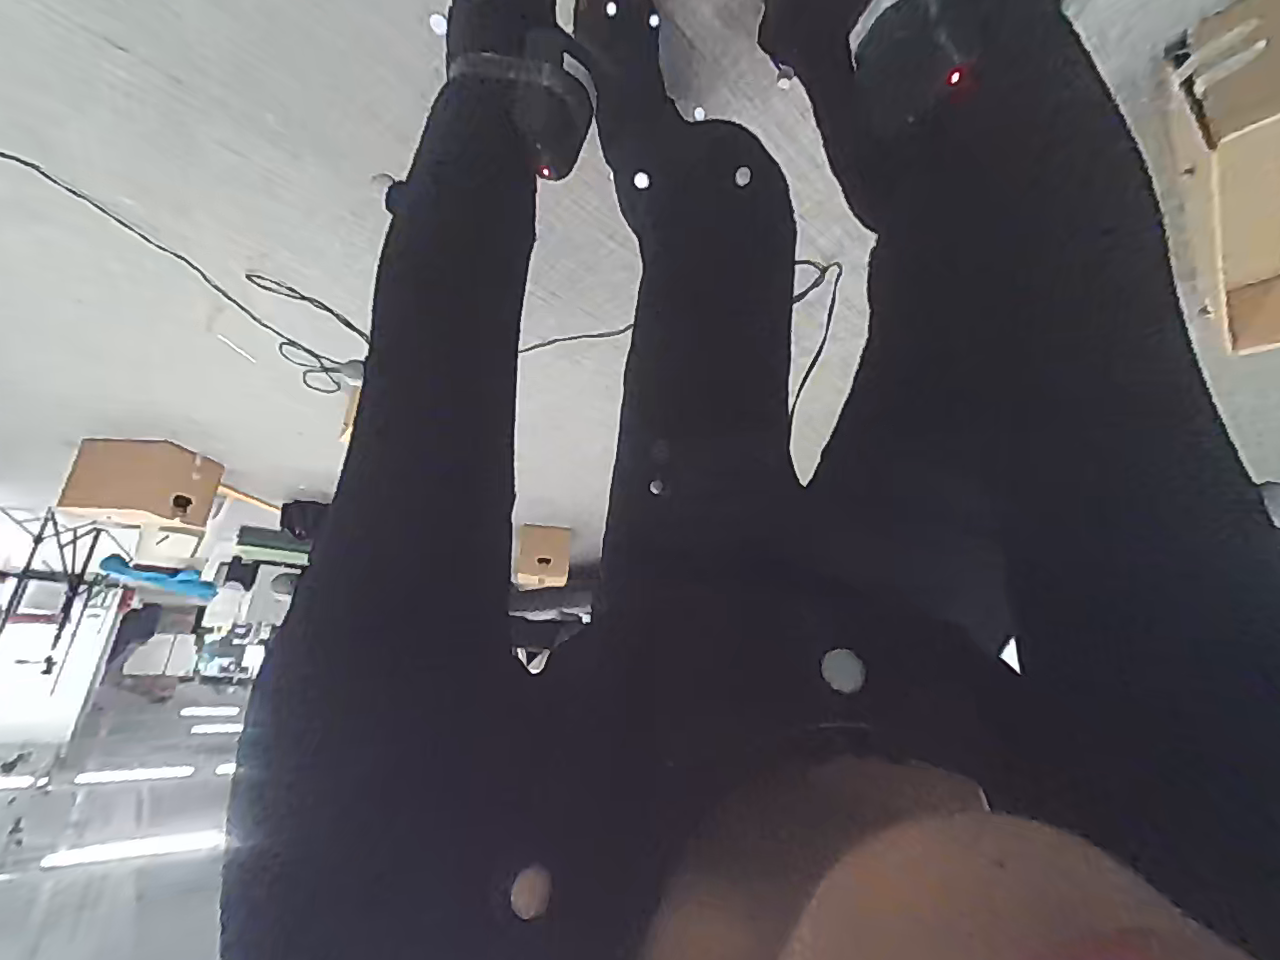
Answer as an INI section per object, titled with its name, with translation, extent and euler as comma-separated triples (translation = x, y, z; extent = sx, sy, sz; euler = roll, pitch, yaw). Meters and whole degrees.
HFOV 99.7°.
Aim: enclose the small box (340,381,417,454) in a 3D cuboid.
[small box]
translation = -0.839, -0.200, 1.739
extent = 0.179, 0.176, 0.168
euler = 16, 157, -37
